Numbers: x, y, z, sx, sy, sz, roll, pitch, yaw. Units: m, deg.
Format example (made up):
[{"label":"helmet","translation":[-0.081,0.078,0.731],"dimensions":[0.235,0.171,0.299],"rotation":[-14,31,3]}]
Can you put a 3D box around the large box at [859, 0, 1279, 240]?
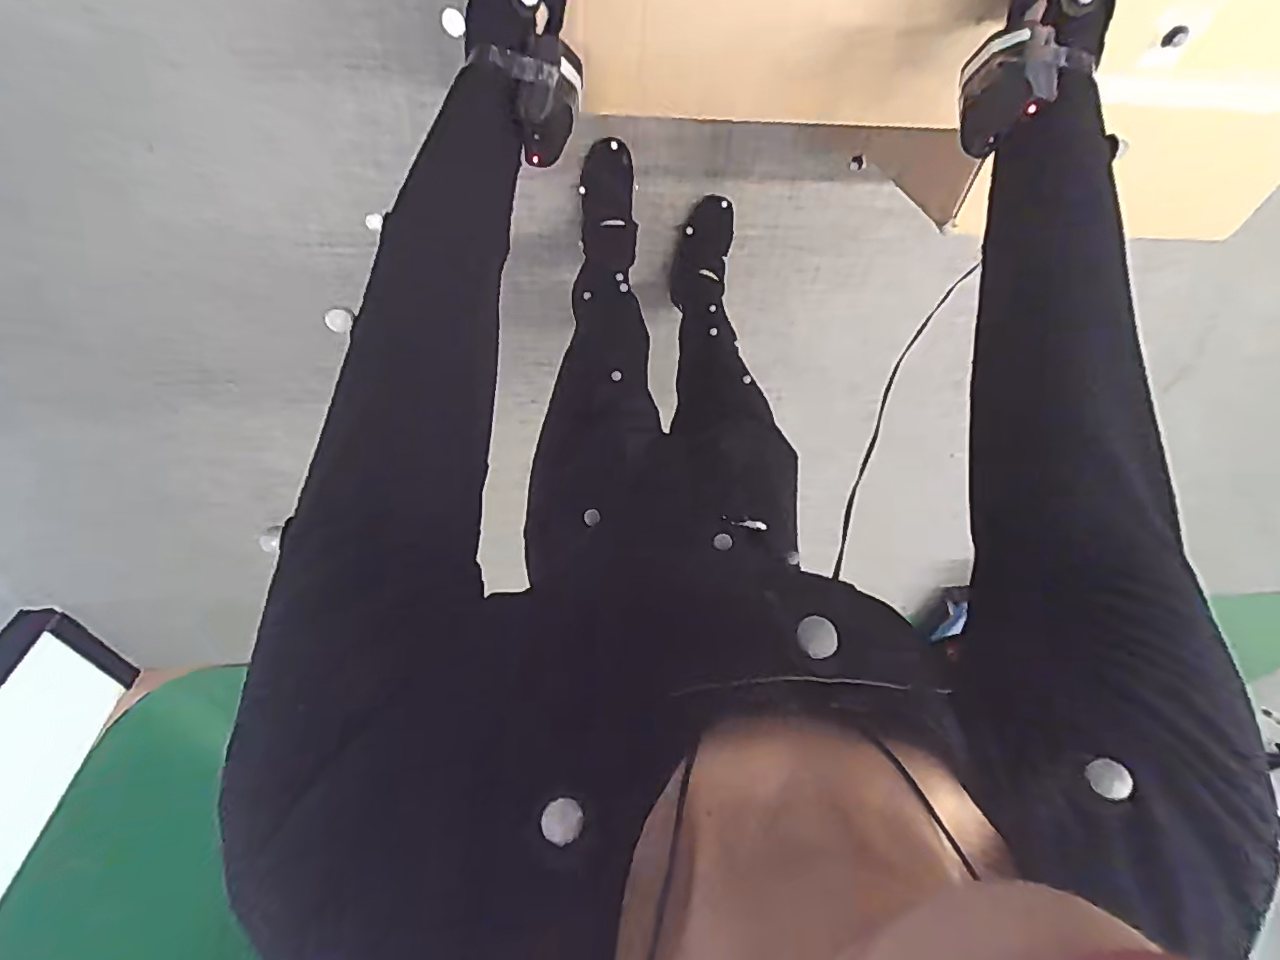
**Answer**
[{"label":"large box","translation":[0.562,-0.522,0.673],"dimensions":[0.408,0.320,0.320],"rotation":[-1,137,-5]}]
